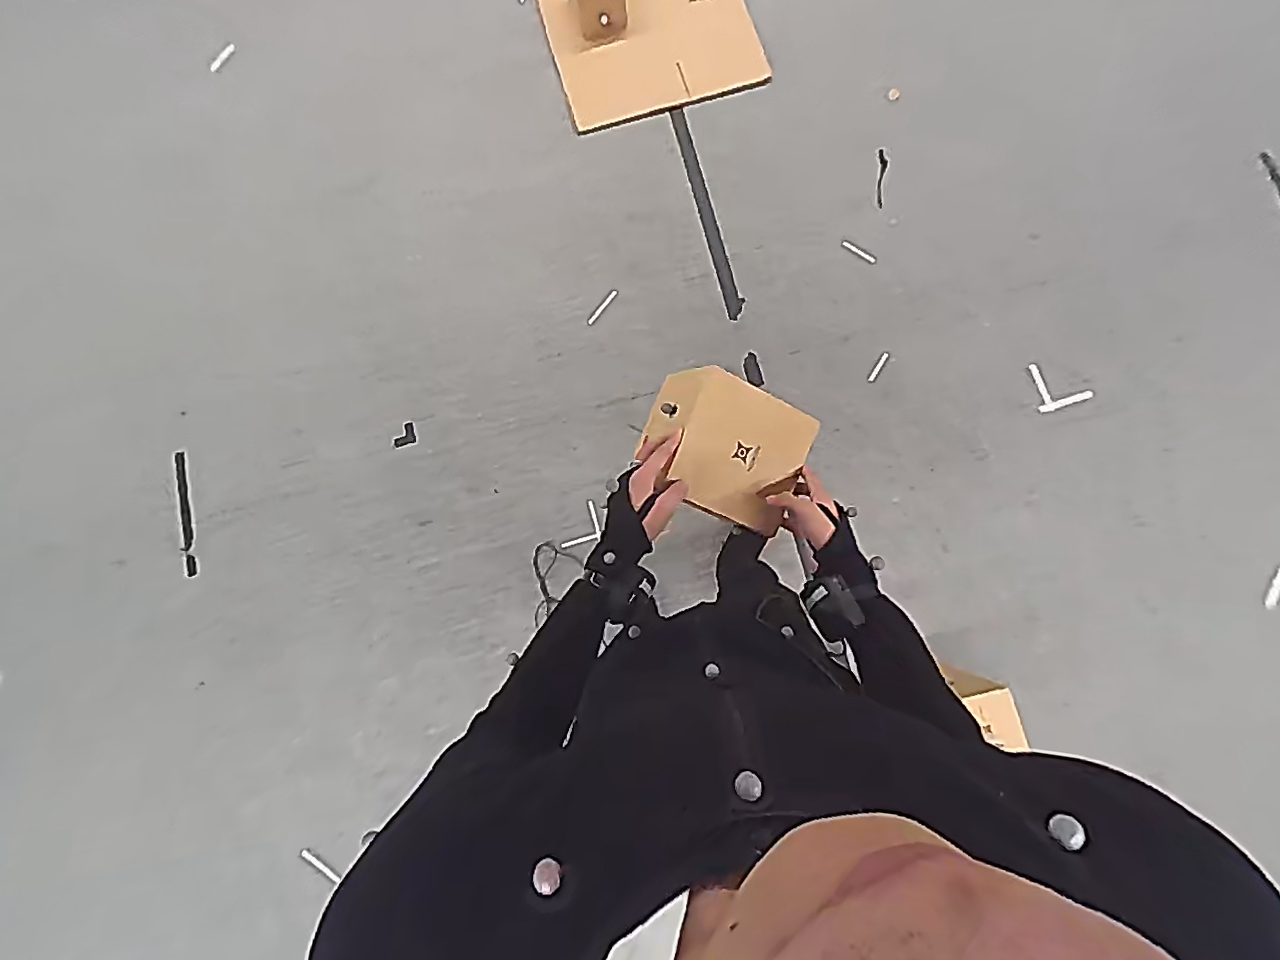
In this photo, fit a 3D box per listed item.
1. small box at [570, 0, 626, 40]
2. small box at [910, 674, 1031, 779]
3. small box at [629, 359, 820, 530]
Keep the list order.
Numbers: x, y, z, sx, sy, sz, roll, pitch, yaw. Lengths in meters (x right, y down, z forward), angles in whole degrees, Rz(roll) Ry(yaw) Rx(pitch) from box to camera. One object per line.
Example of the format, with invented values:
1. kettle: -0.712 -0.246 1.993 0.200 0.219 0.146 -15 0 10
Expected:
1. small box: -0.149 -1.646 1.820 0.168 0.176 0.179 -17 82 0
2. small box: 0.801 0.596 1.328 0.168 0.176 0.179 -13 81 -1
3. small box: 0.105 -0.047 0.748 0.179 0.176 0.168 23 89 -19
